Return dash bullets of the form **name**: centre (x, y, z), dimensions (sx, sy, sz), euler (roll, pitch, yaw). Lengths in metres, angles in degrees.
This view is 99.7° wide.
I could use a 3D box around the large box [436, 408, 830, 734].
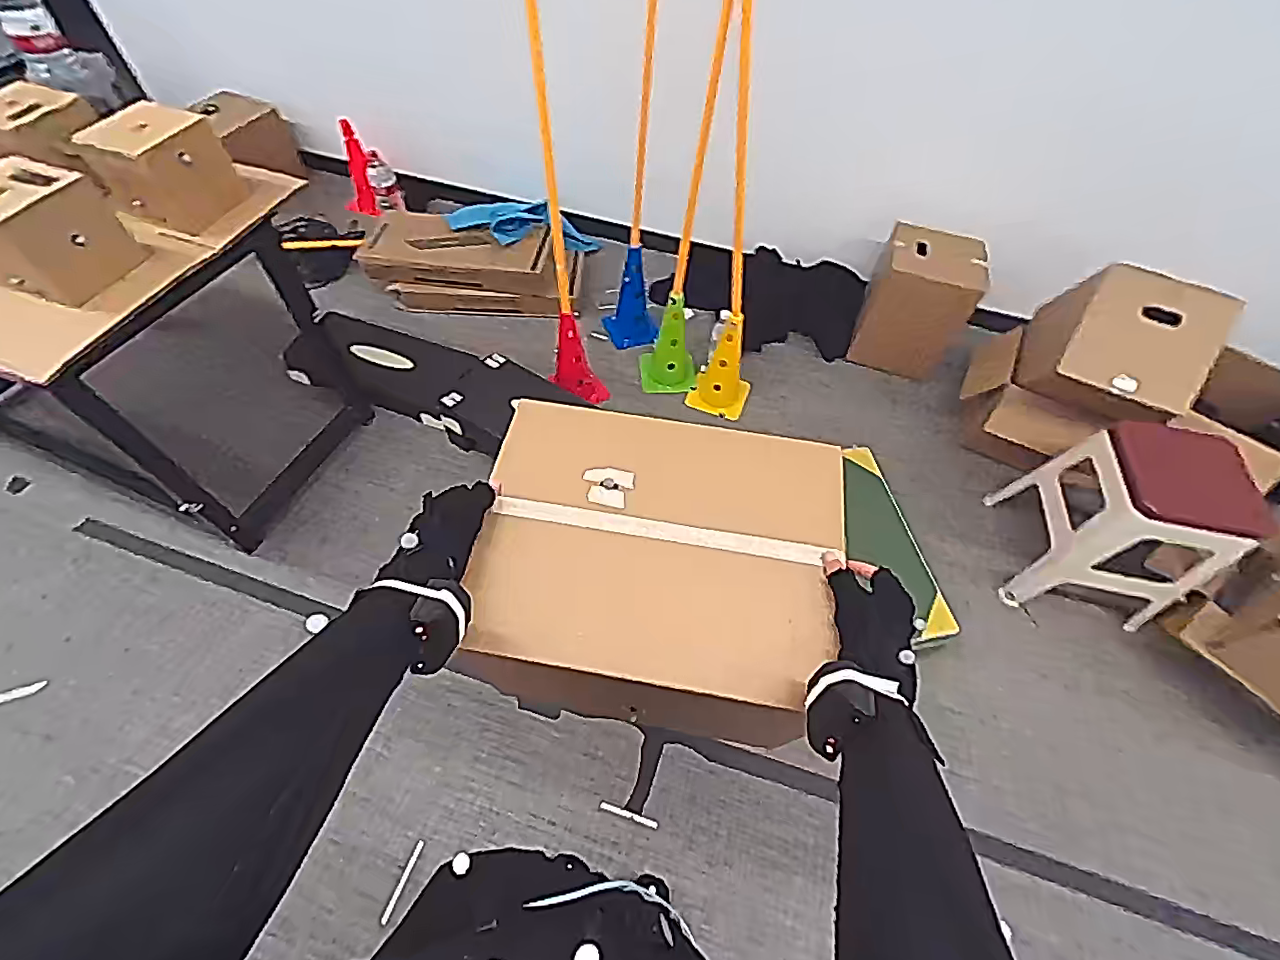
- **large box**: centre (0.013, 0.136, 0.735), dimensions (0.408, 0.320, 0.320), euler (9, 59, 5)
